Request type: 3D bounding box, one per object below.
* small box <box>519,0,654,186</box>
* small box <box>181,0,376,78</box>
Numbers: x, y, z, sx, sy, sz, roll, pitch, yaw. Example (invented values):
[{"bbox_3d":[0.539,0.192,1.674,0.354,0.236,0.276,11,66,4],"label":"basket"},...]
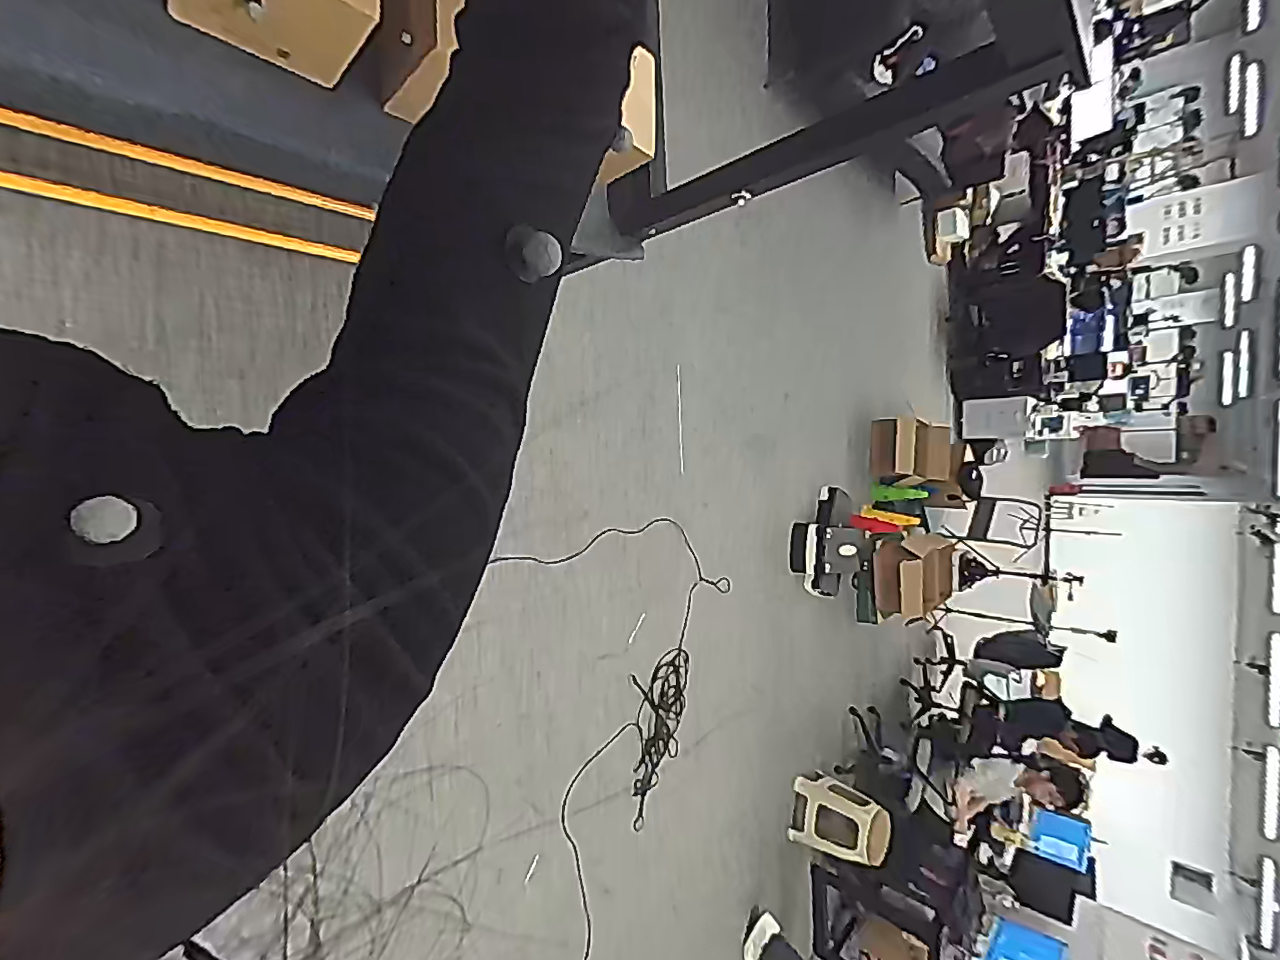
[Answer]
[{"bbox_3d":[-0.093,-0.638,0.921,0.168,0.176,0.179,0,91,-47],"label":"small box"},{"bbox_3d":[-0.406,-0.600,0.596,0.168,0.176,0.179,-2,92,-46],"label":"small box"}]
